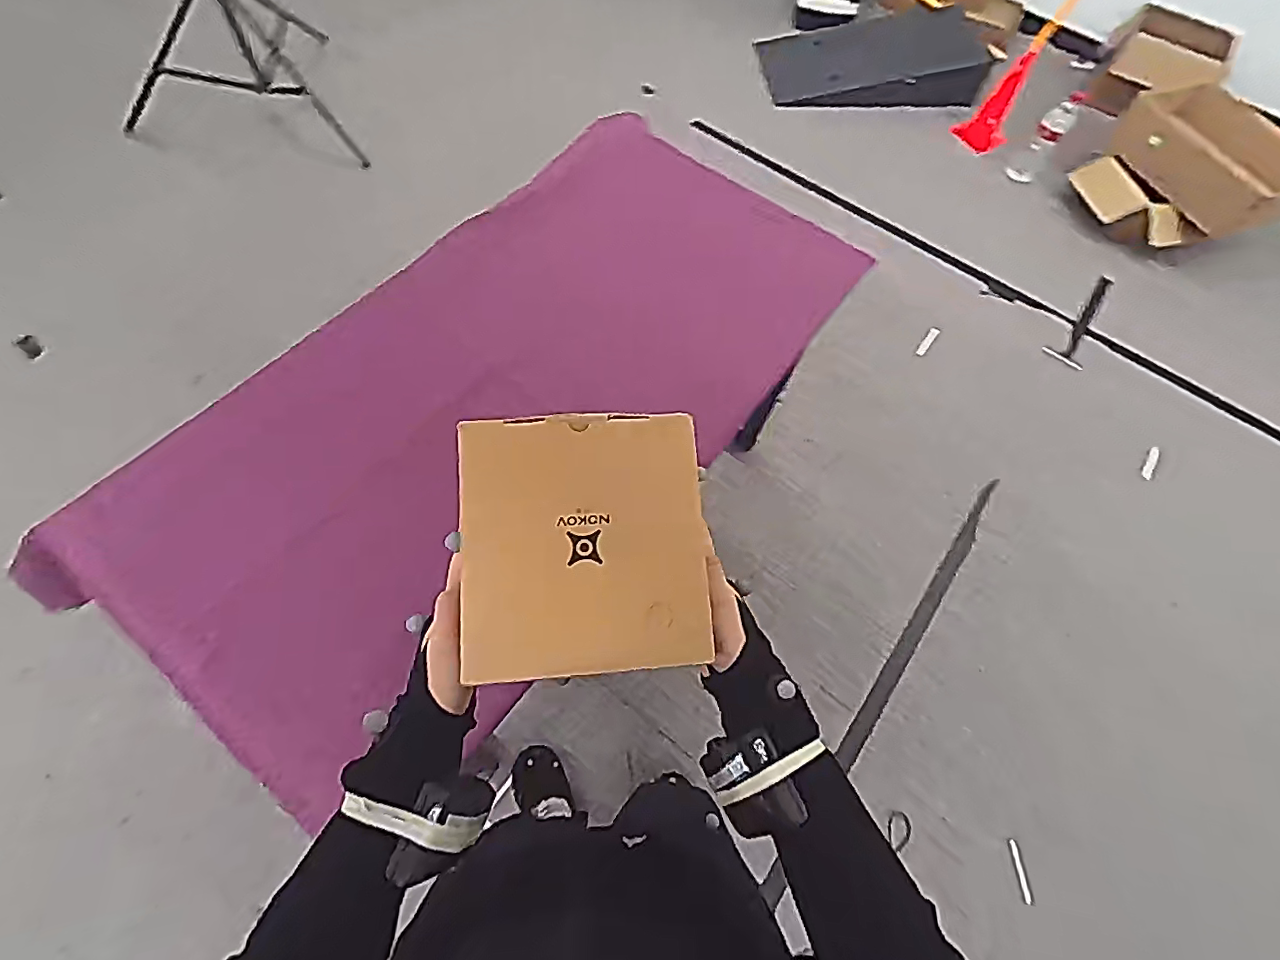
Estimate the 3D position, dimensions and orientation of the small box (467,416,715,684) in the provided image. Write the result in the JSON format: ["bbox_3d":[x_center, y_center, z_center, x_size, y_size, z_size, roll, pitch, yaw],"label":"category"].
[{"bbox_3d":[-0.041,0.058,0.446,0.168,0.176,0.179,-3,78,-6],"label":"small box"}]
